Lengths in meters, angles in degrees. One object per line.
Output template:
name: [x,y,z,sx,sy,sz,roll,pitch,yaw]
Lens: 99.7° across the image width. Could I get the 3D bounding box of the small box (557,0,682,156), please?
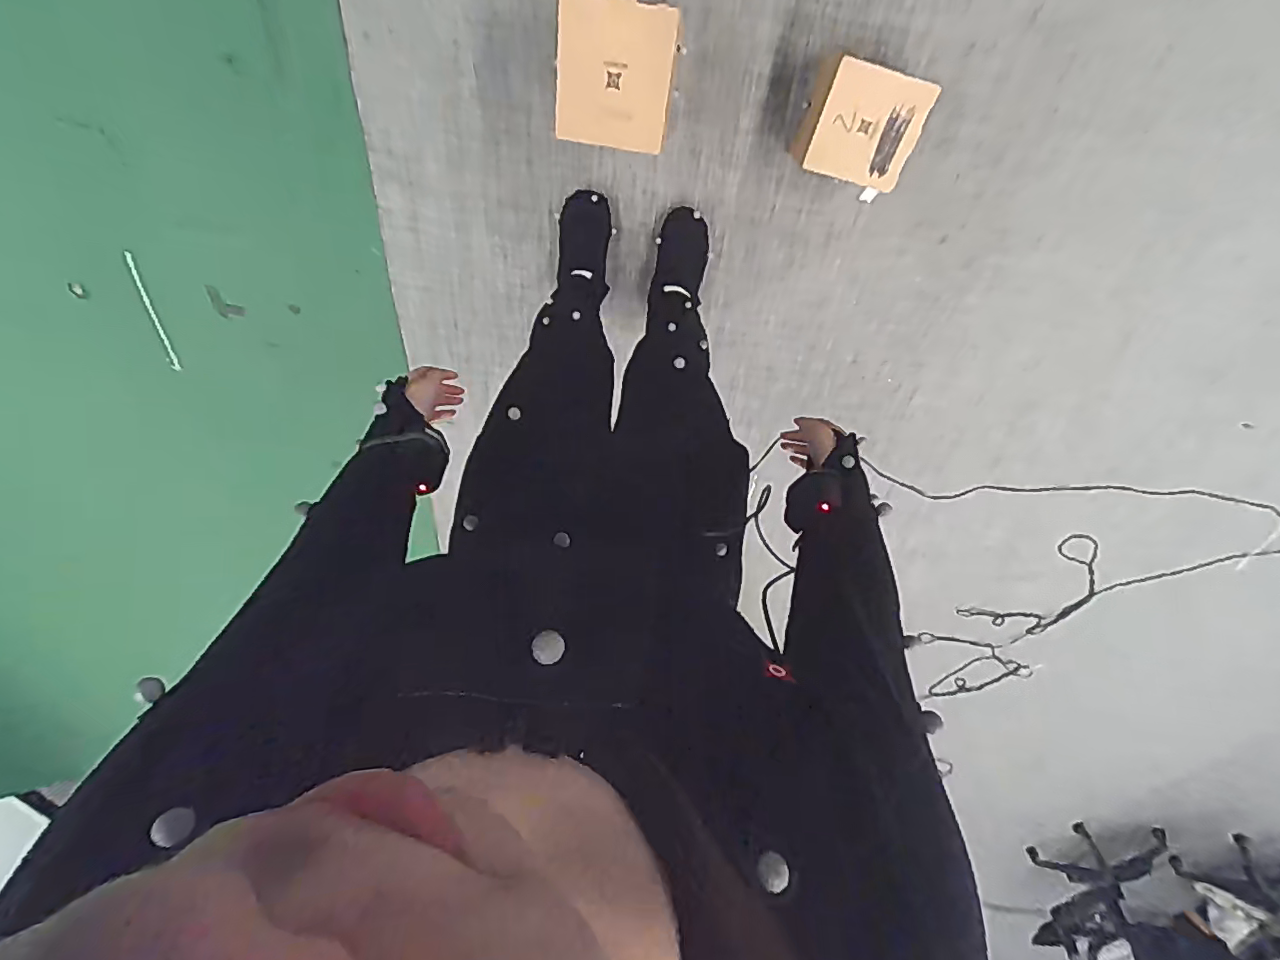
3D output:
small box: [-0.030,-0.628,0.839,0.168,0.176,0.179,9,130,0]
